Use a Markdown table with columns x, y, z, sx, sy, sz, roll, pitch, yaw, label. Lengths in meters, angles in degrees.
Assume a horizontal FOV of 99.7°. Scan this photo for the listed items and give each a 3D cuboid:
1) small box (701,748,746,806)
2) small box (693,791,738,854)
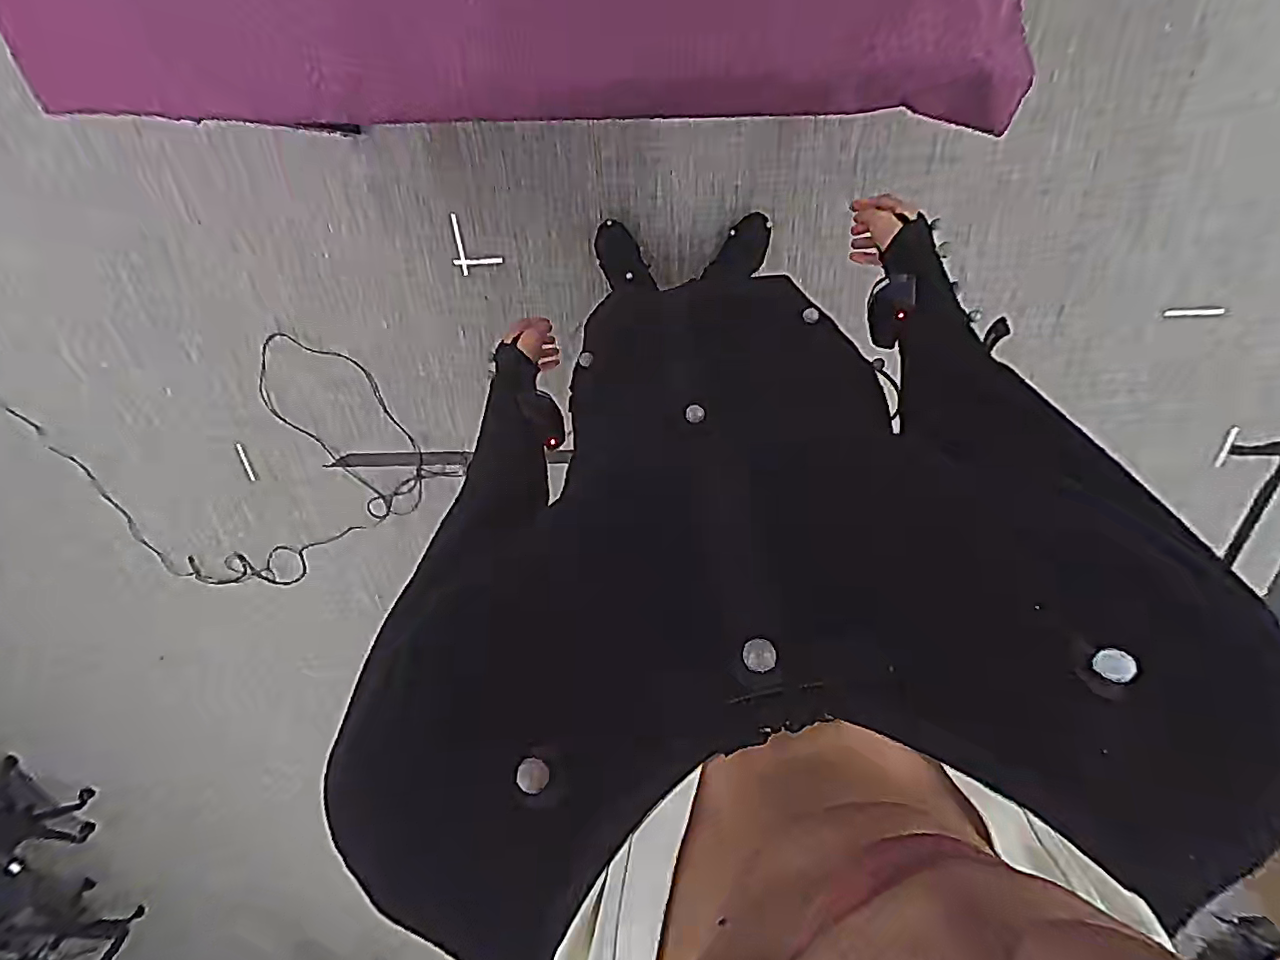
| x | y | z | sx | sy | sz | roll | pitch | yaw | label |
| --- | --- | --- | --- | --- | --- | --- | --- | --- | --- |
| 0.369 | 1.323 | 2.402 | 0.168 | 0.176 | 0.179 | -11 | 118 | 8 | small box |
| 0.314 | 1.455 | 2.291 | 0.168 | 0.176 | 0.179 | 1 | 119 | 0 | small box |
